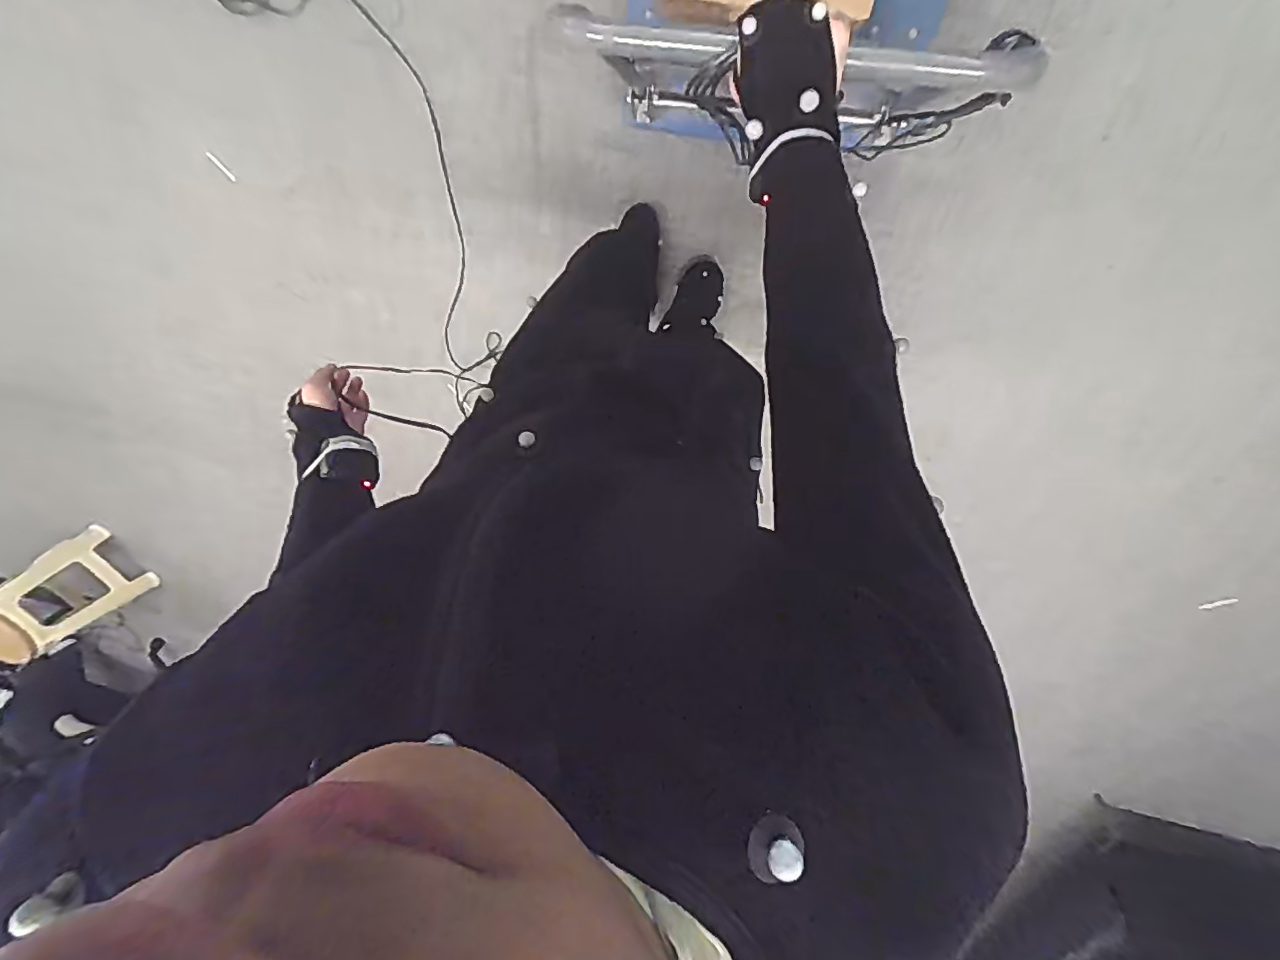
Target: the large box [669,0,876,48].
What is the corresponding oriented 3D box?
[{"bbox_3d":[0.226,-0.920,0.786,0.320,0.320,0.408,12,121,4],"label":"large box"}]
